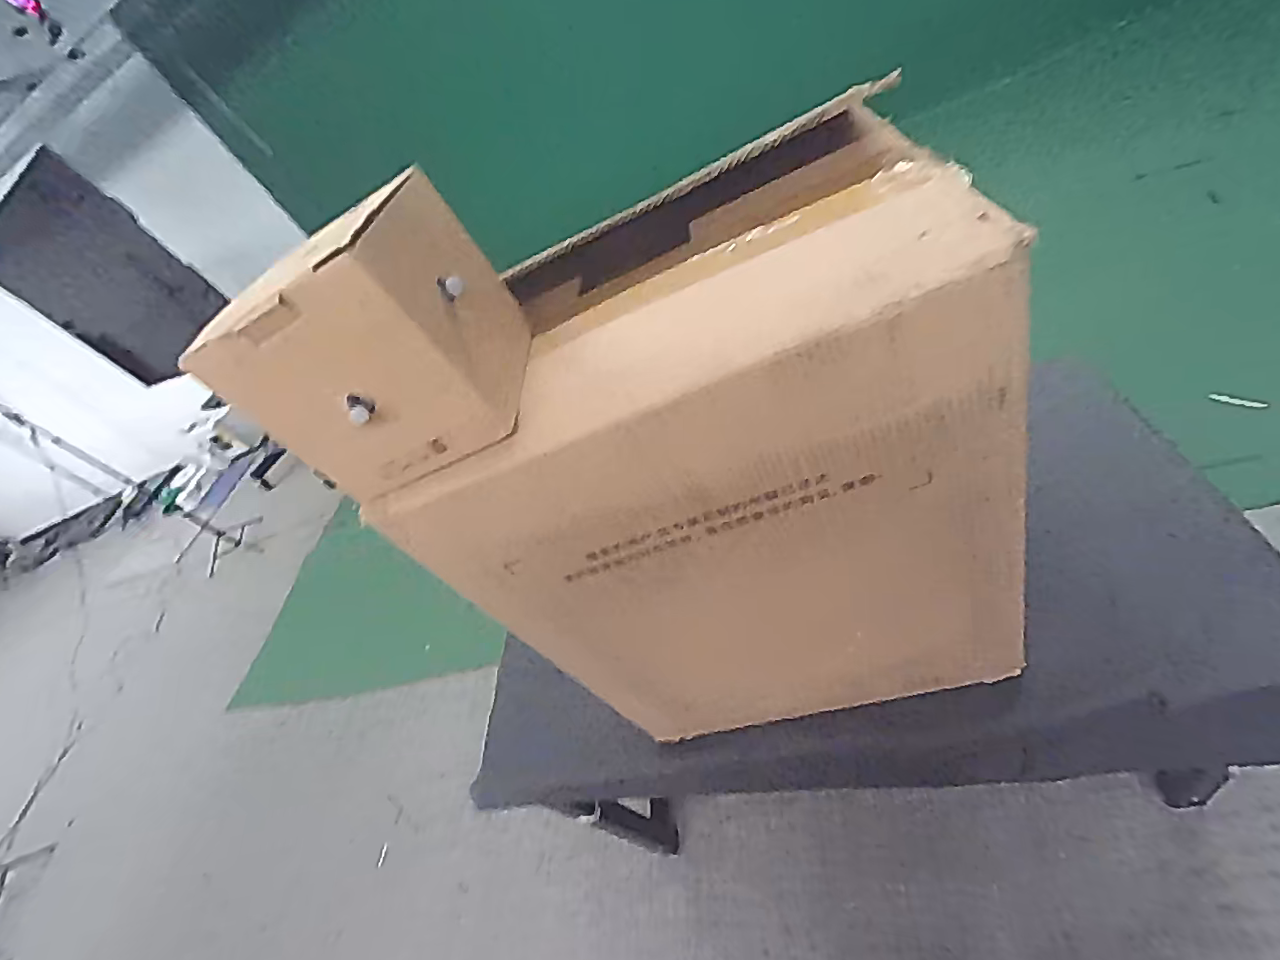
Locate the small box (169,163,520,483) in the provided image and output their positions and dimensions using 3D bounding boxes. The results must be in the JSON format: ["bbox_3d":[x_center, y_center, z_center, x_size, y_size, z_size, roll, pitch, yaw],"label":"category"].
[{"bbox_3d":[-0.220,-0.119,0.456,0.168,0.176,0.179,-22,43,18],"label":"small box"}]
